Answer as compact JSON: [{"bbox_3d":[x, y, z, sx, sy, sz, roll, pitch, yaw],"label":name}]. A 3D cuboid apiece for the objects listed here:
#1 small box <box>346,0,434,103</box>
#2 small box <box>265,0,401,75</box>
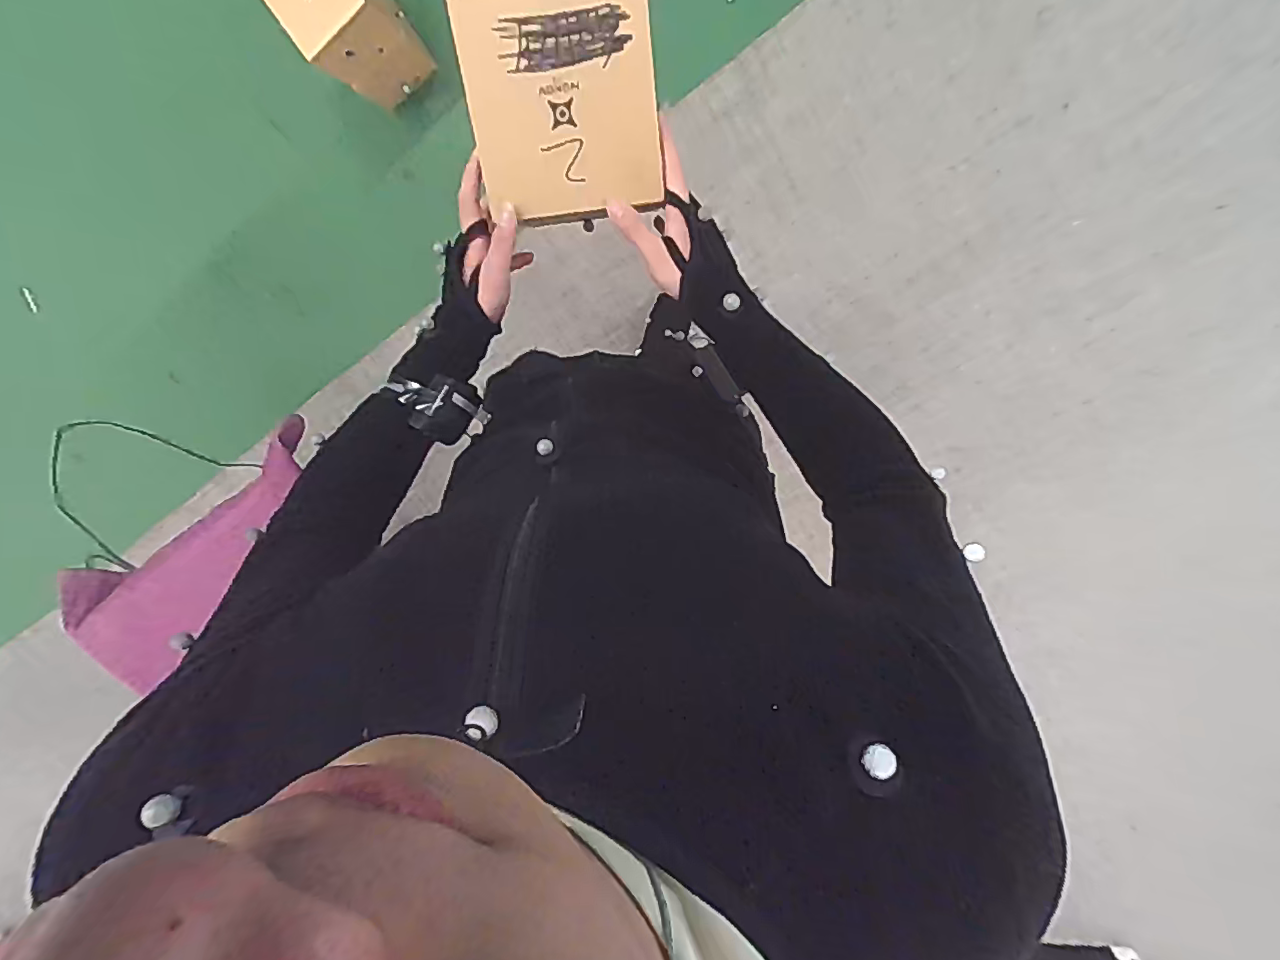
[{"bbox_3d":[-0.618,-1.020,1.243,0.168,0.176,0.179,-31,106,15],"label":"small box"},{"bbox_3d":[-0.627,-0.965,1.092,0.168,0.176,0.179,-32,104,16],"label":"small box"}]
